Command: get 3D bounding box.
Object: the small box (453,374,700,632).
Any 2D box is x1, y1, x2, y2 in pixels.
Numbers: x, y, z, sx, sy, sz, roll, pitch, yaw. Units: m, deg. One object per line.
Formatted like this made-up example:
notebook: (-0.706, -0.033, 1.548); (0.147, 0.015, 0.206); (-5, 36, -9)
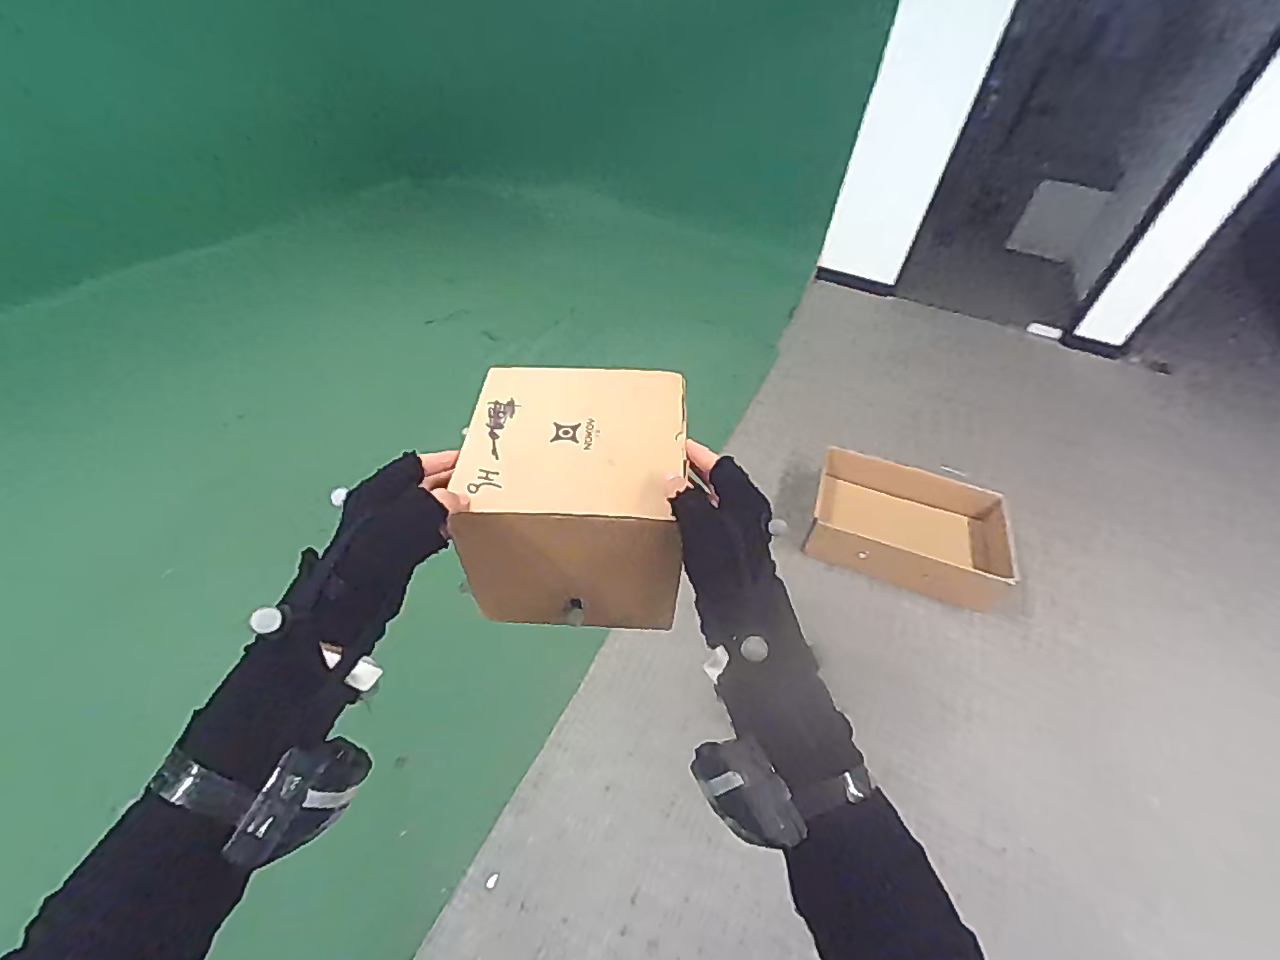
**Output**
small box: (-0.045, 0.025, 0.490); (0.179, 0.176, 0.168); (3, 48, 0)
